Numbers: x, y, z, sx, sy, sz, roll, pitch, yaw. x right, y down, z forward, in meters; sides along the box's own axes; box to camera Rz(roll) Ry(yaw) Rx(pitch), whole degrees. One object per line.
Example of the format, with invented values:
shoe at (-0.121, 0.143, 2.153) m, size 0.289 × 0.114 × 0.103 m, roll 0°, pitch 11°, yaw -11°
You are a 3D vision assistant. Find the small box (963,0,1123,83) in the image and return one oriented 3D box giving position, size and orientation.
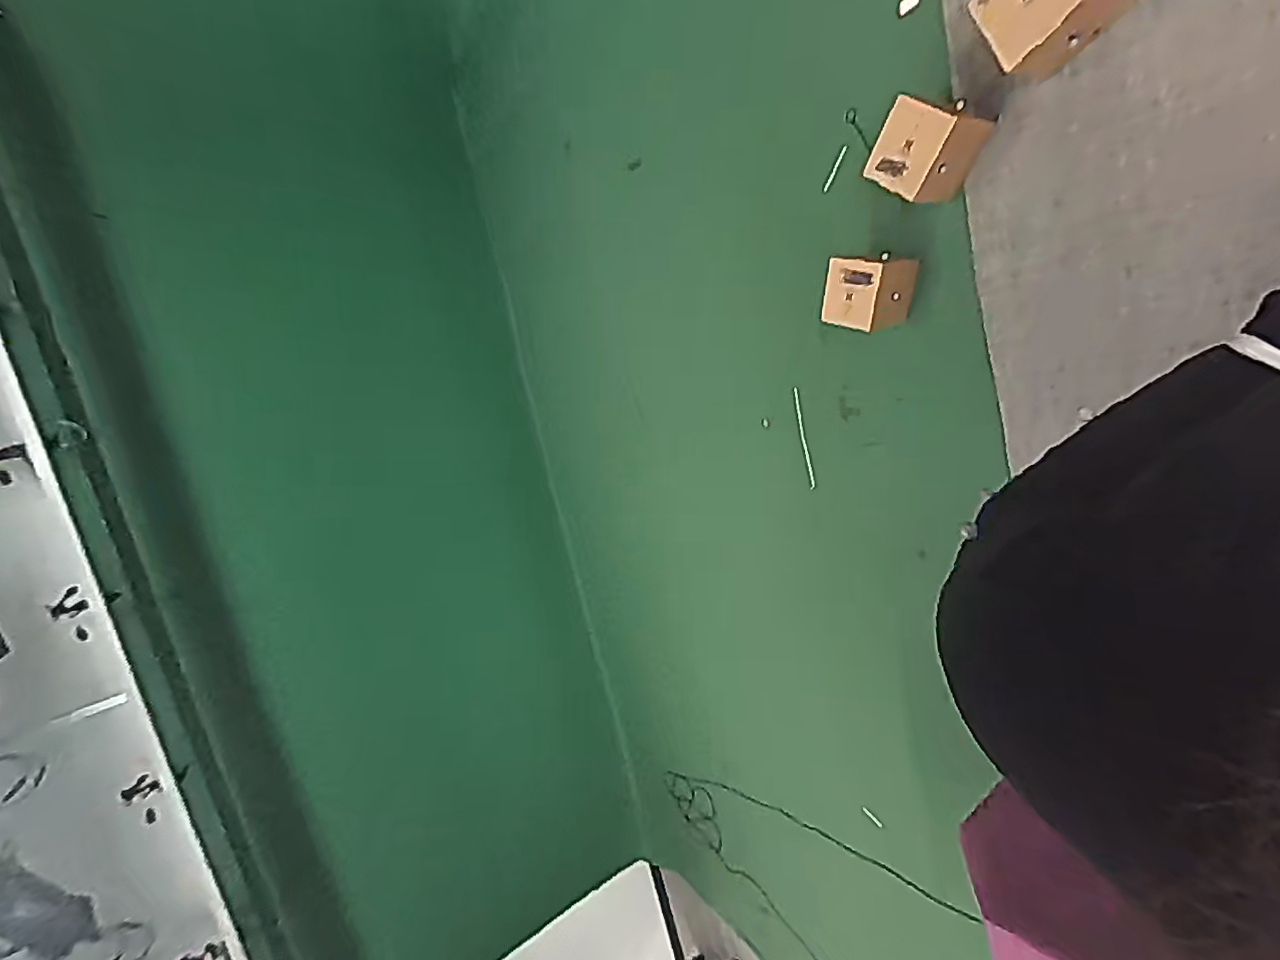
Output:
small box at (0.790, -0.920, 1.061) m, size 0.168 × 0.176 × 0.179 m, roll -35°, pitch 75°, yaw 59°

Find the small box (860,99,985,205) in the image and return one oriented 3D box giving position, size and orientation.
small box at (0.682, -0.787, 1.306) m, size 0.168 × 0.176 × 0.179 m, roll 53°, pitch 144°, yaw 30°
